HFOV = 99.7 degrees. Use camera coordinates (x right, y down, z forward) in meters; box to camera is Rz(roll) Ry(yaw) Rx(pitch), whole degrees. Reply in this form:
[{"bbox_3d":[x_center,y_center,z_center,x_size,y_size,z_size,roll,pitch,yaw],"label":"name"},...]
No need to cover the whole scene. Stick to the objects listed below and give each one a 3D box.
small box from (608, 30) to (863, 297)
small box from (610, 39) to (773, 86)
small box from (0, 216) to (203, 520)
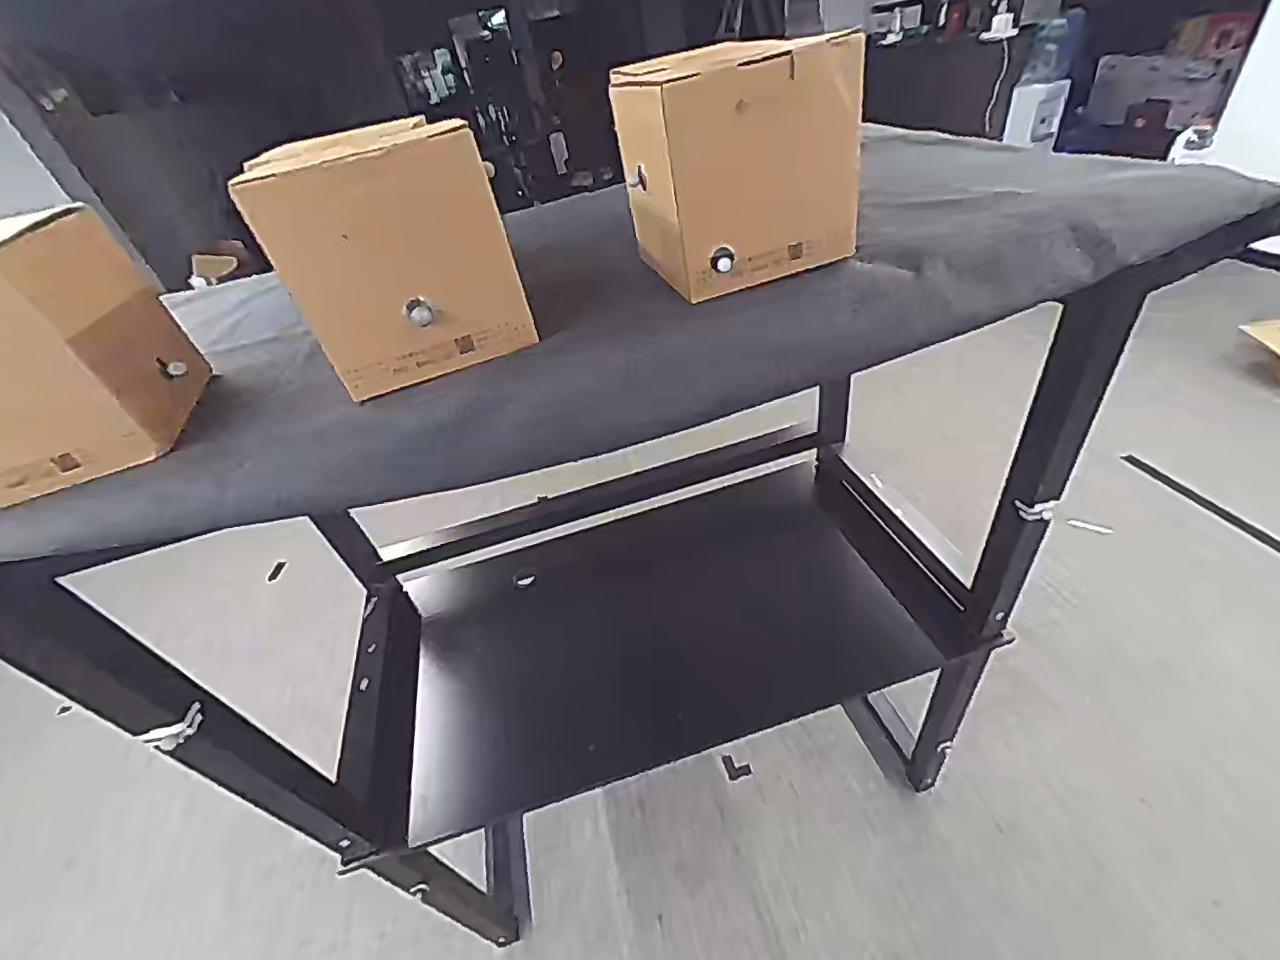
[{"bbox_3d":[0.084,-0.287,0.505,0.168,0.176,0.179,-19,38,-6],"label":"small box"},{"bbox_3d":[0.071,-0.432,0.683,0.168,0.176,0.179,-17,41,-5],"label":"small box"},{"bbox_3d":[-0.501,-0.088,0.431,0.168,0.176,0.179,-22,41,-11],"label":"small box"}]
